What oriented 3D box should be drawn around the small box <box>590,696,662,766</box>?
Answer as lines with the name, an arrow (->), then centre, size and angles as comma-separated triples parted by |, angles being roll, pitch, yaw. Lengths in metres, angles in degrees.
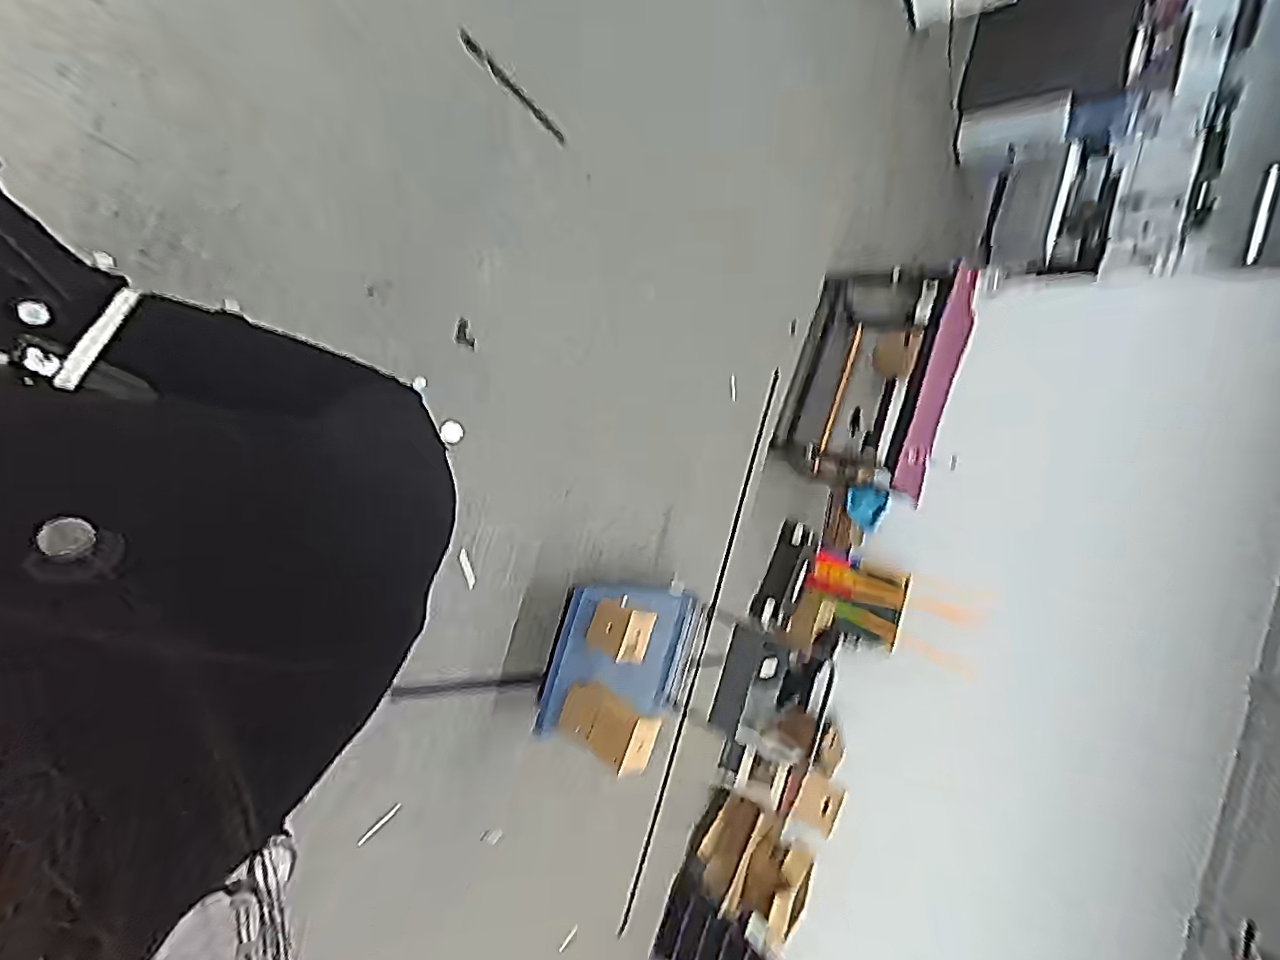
small box -> -0.053, 0.887, 1.932 | 0.168, 0.176, 0.179 | 27, 82, -51

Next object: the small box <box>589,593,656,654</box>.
small box -> -0.070, 0.546, 2.059 | 0.168, 0.176, 0.179 | 24, 82, -51
